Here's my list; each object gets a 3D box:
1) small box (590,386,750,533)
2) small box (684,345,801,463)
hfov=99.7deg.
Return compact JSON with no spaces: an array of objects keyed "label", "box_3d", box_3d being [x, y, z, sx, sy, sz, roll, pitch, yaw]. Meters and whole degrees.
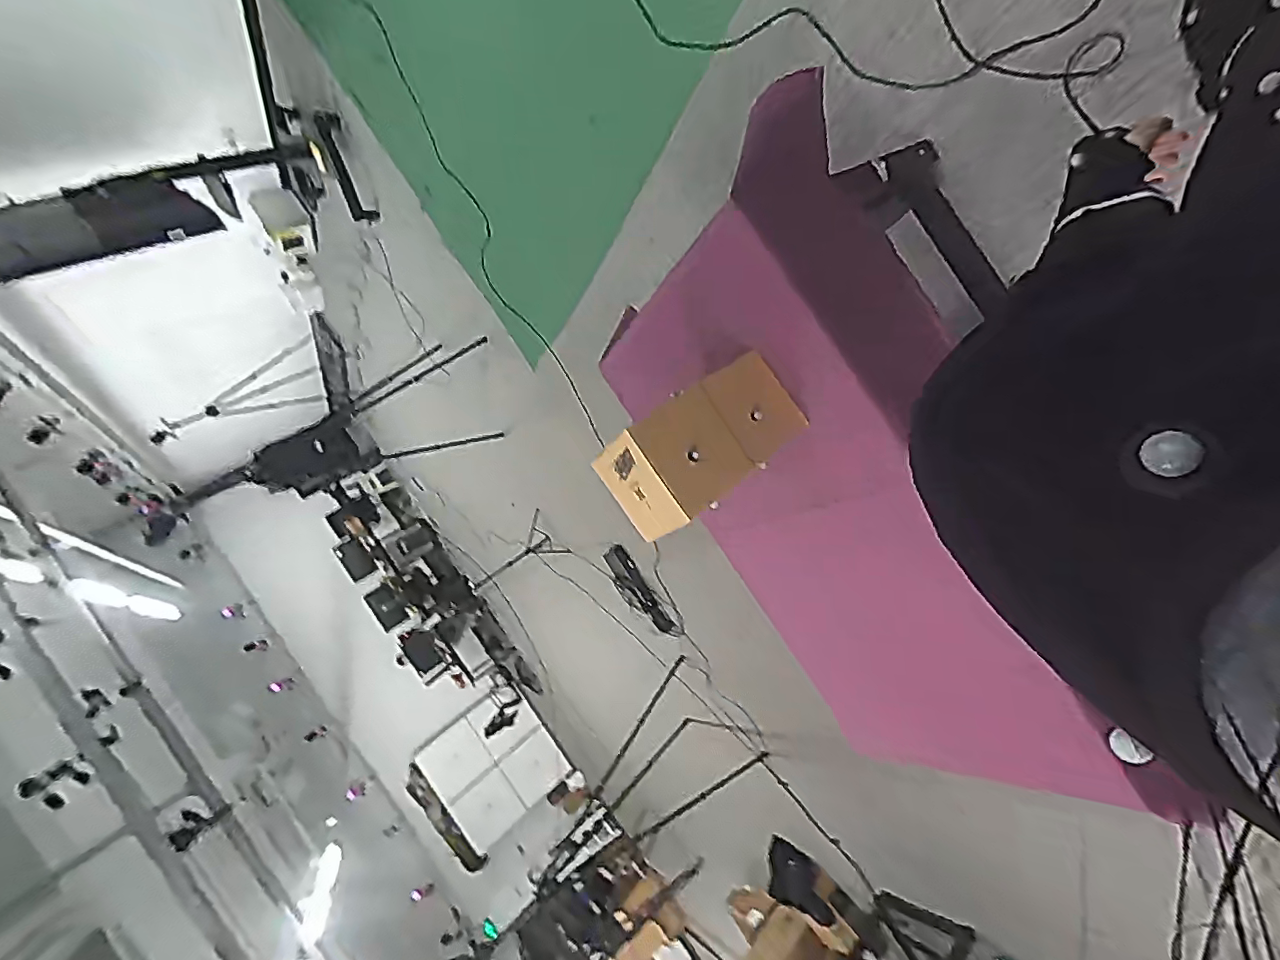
[{"label":"small box","box_3d":[0.049,-0.040,0.926,0.179,0.176,0.168,55,150,1]},{"label":"small box","box_3d":[0.165,-0.119,1.013,0.179,0.176,0.168,54,149,2]}]
